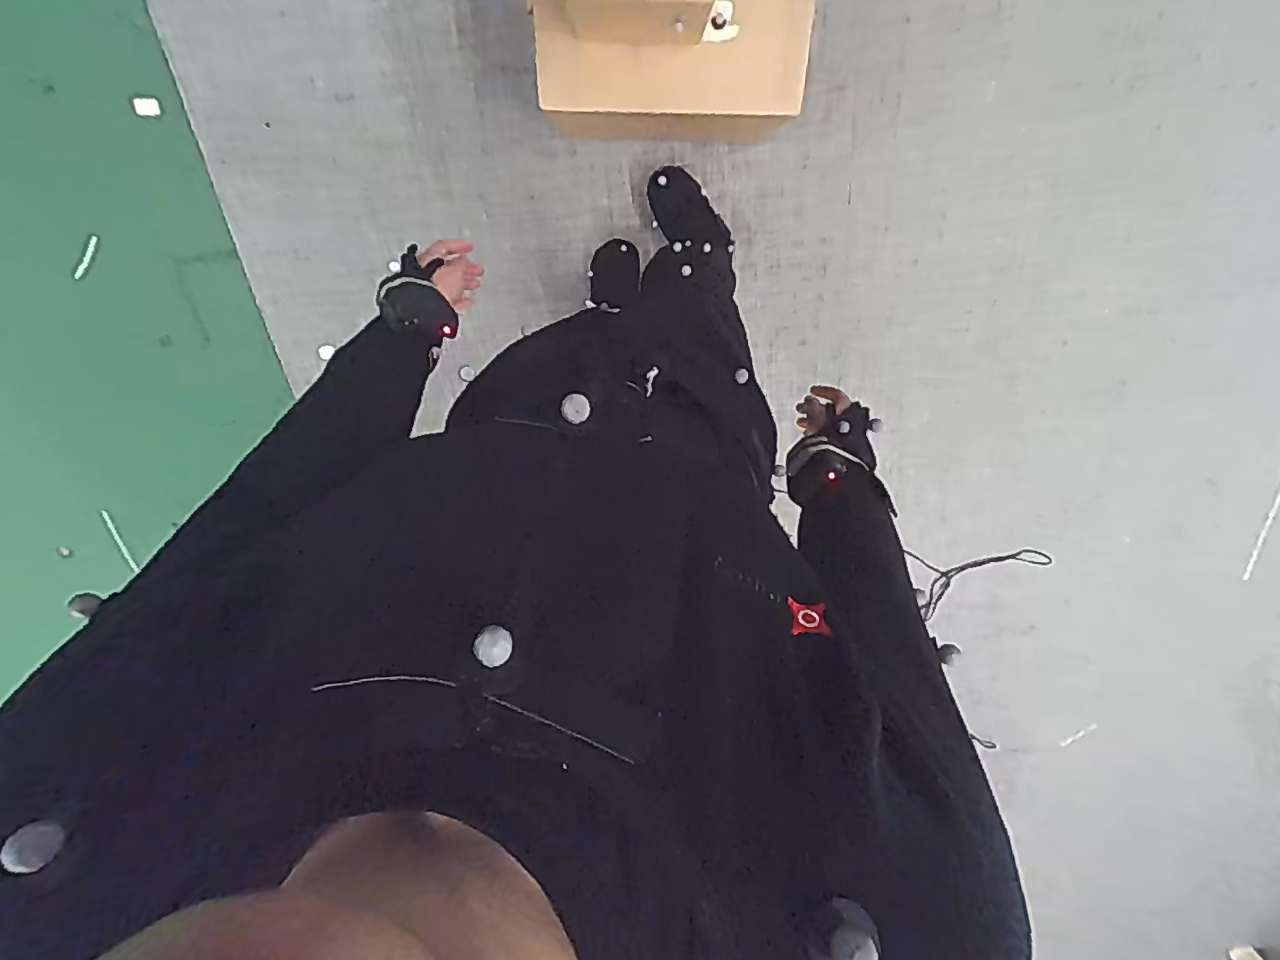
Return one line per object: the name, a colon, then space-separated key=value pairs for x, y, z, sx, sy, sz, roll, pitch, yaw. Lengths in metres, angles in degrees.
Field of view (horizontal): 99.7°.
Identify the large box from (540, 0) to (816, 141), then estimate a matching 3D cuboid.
large box: x=0.052 y=-0.765 z=0.896 sx=0.408 sy=0.320 sz=0.320 roll=0 pitch=116 yaw=-1
